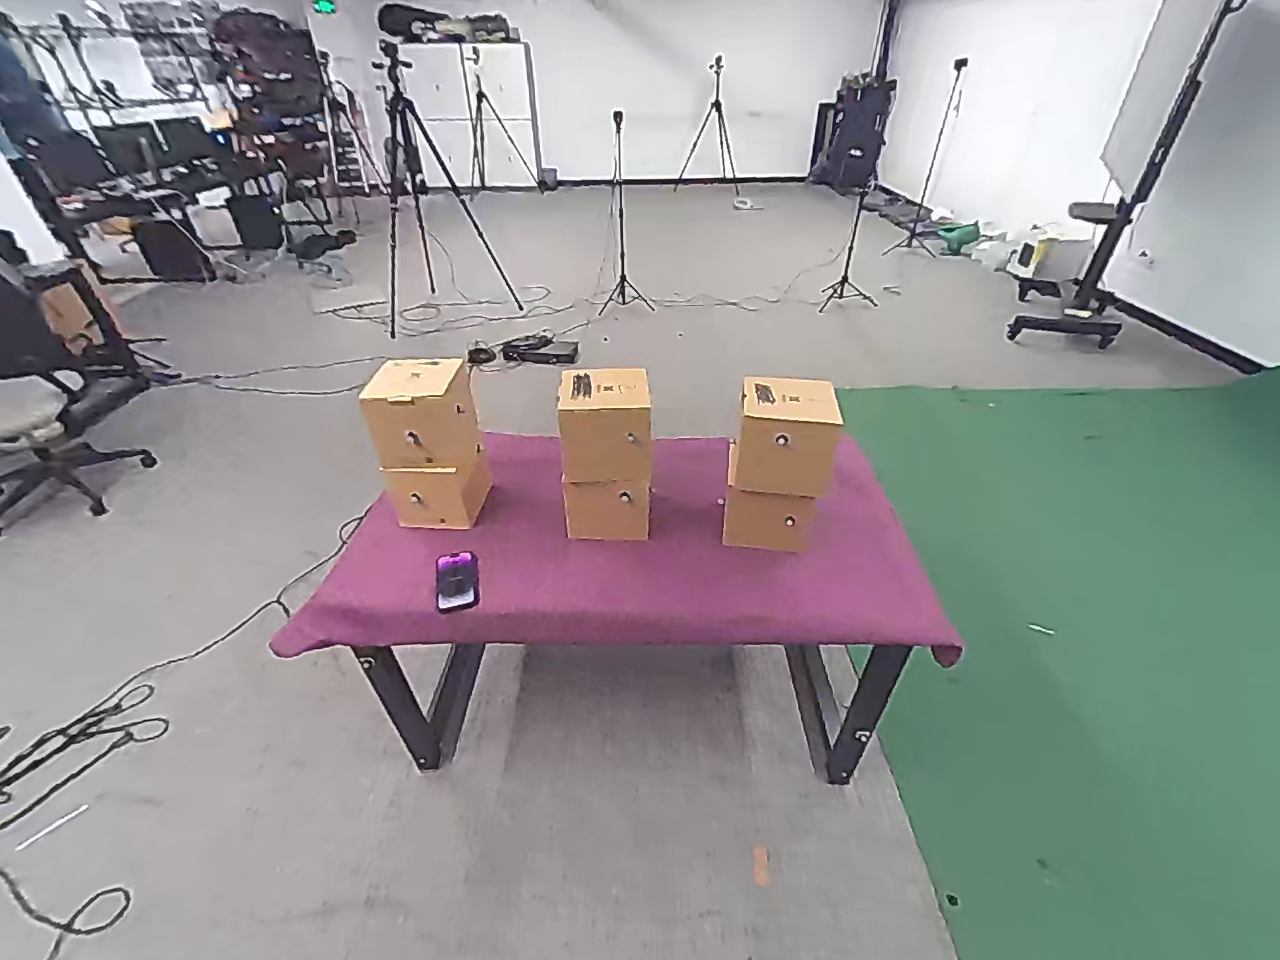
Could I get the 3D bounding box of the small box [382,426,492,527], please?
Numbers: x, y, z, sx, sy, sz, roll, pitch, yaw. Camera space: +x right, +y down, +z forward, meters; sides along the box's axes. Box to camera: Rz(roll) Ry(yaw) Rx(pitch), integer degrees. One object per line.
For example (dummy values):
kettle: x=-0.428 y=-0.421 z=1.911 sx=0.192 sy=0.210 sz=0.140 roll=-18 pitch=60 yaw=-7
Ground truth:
small box: x=-0.450 y=-0.009 z=1.234 sx=0.168 sy=0.176 sz=0.179 roll=1 pitch=37 yaw=4

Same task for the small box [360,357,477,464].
small box: x=-0.453 y=-0.145 z=1.142 sx=0.168 sy=0.176 sz=0.179 roll=-1 pitch=38 yaw=-1

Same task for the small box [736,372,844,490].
small box: x=0.282 y=-0.096 z=1.053 sx=0.179 sy=0.176 sz=0.168 roll=5 pitch=37 yaw=8

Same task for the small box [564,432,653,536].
small box: x=-0.061 y=0.010 z=1.194 sx=0.179 sy=0.176 sz=0.168 roll=1 pitch=37 yaw=3

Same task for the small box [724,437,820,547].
small box: x=0.278 y=0.026 z=1.165 sx=0.179 sy=0.176 sz=0.168 roll=4 pitch=37 yaw=9
